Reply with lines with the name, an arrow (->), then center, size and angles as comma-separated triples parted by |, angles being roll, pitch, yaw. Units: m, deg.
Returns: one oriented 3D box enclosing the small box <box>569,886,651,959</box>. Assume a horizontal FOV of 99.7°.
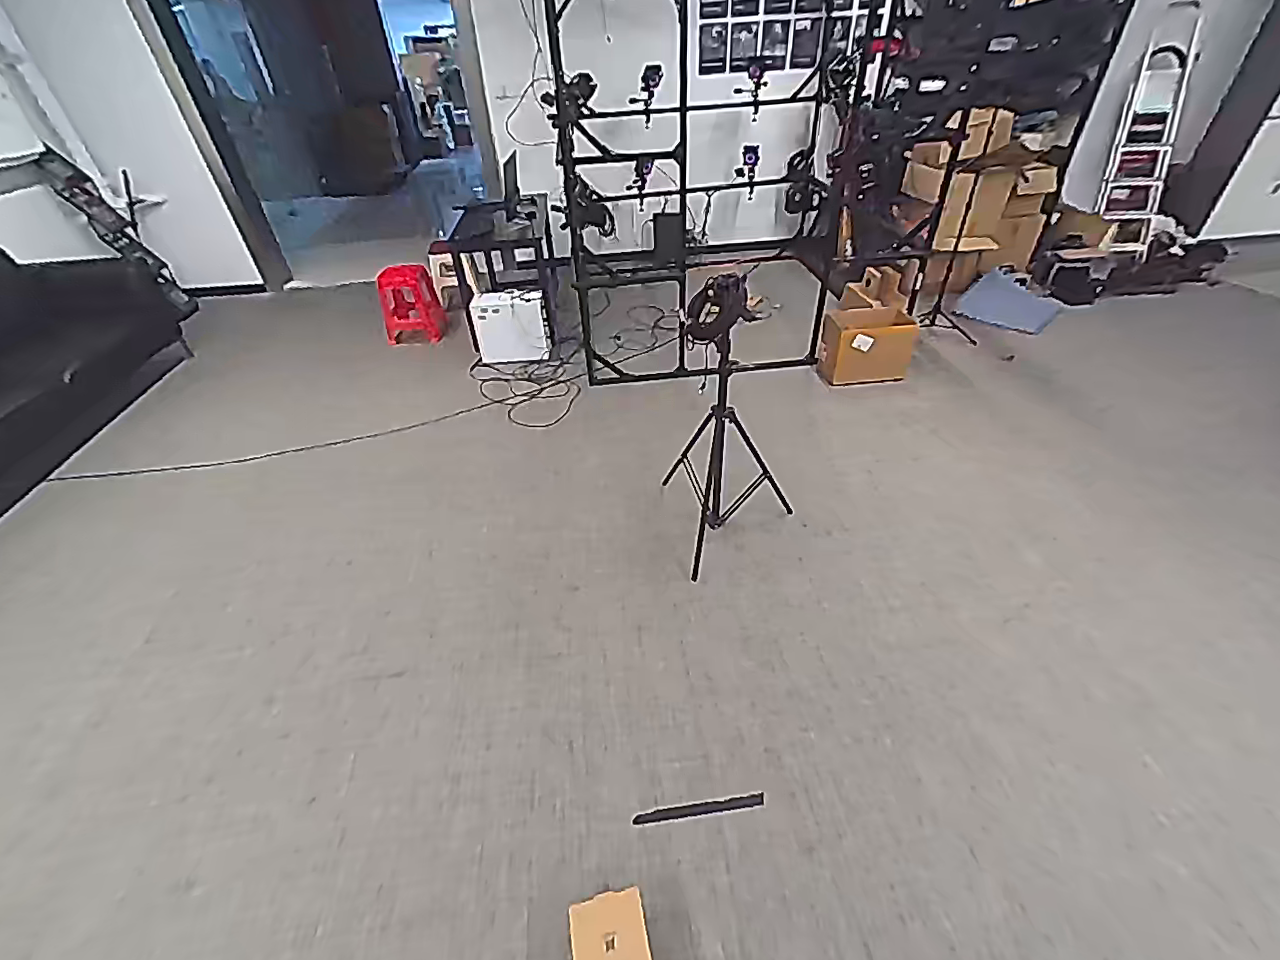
small box -> -0.064, 1.064, 1.221 | 0.168, 0.176, 0.179 | -10, 40, -7
